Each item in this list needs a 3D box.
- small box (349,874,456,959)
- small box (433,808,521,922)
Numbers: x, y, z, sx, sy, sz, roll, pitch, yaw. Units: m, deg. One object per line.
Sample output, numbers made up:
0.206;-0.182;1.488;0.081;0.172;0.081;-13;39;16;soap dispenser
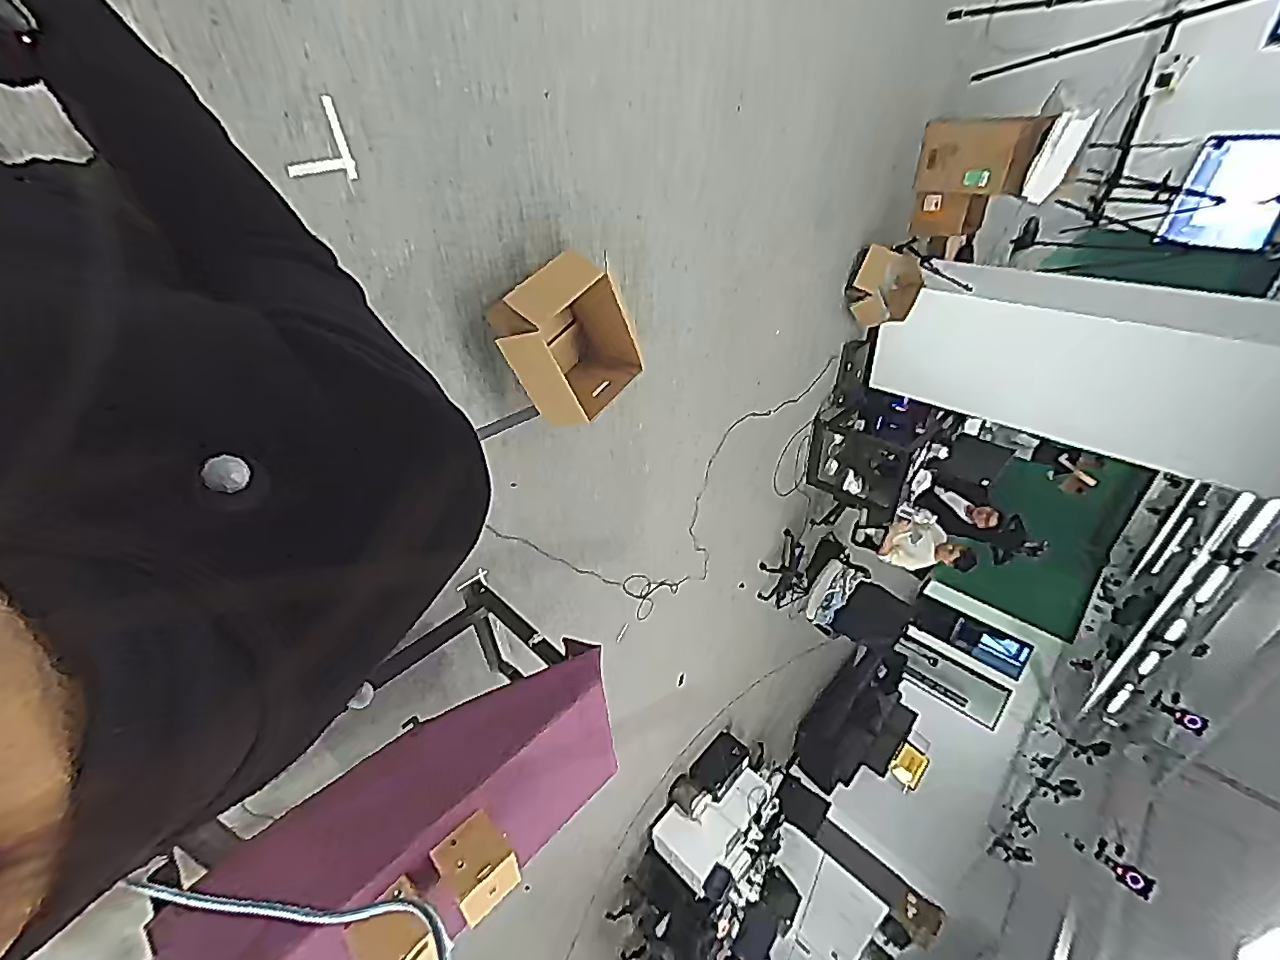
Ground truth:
-0.611;1.166;1.392;0.168;0.176;0.179;-36;138;-32;small box
-0.459;1.071;1.521;0.168;0.176;0.179;-29;133;-36;small box
